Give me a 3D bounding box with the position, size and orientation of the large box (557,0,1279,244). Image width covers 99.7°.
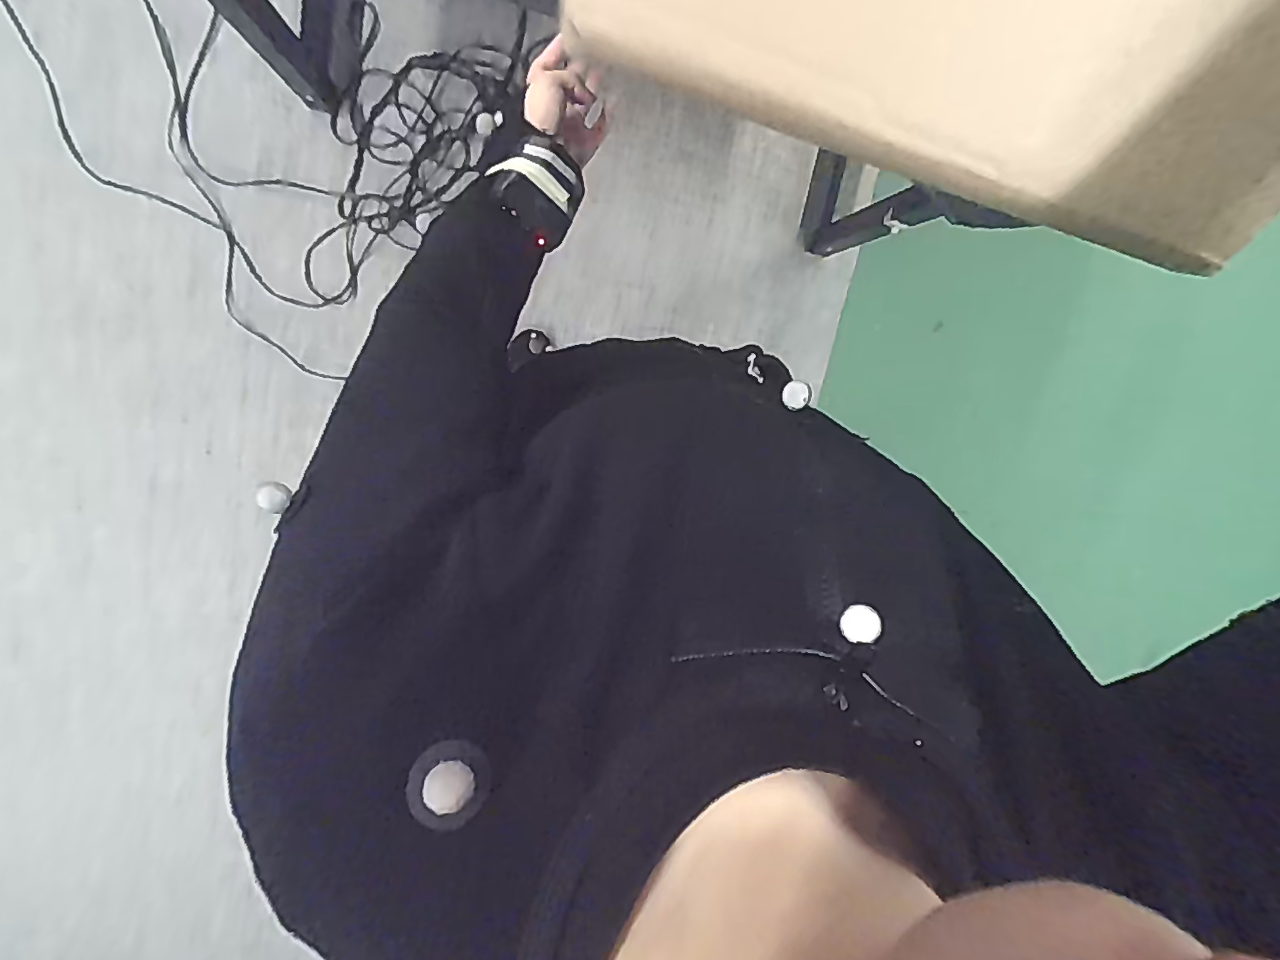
[{"bbox_3d":[0.136,-0.369,0.277,0.320,0.408,0.320,7,129,-16],"label":"large box"}]
